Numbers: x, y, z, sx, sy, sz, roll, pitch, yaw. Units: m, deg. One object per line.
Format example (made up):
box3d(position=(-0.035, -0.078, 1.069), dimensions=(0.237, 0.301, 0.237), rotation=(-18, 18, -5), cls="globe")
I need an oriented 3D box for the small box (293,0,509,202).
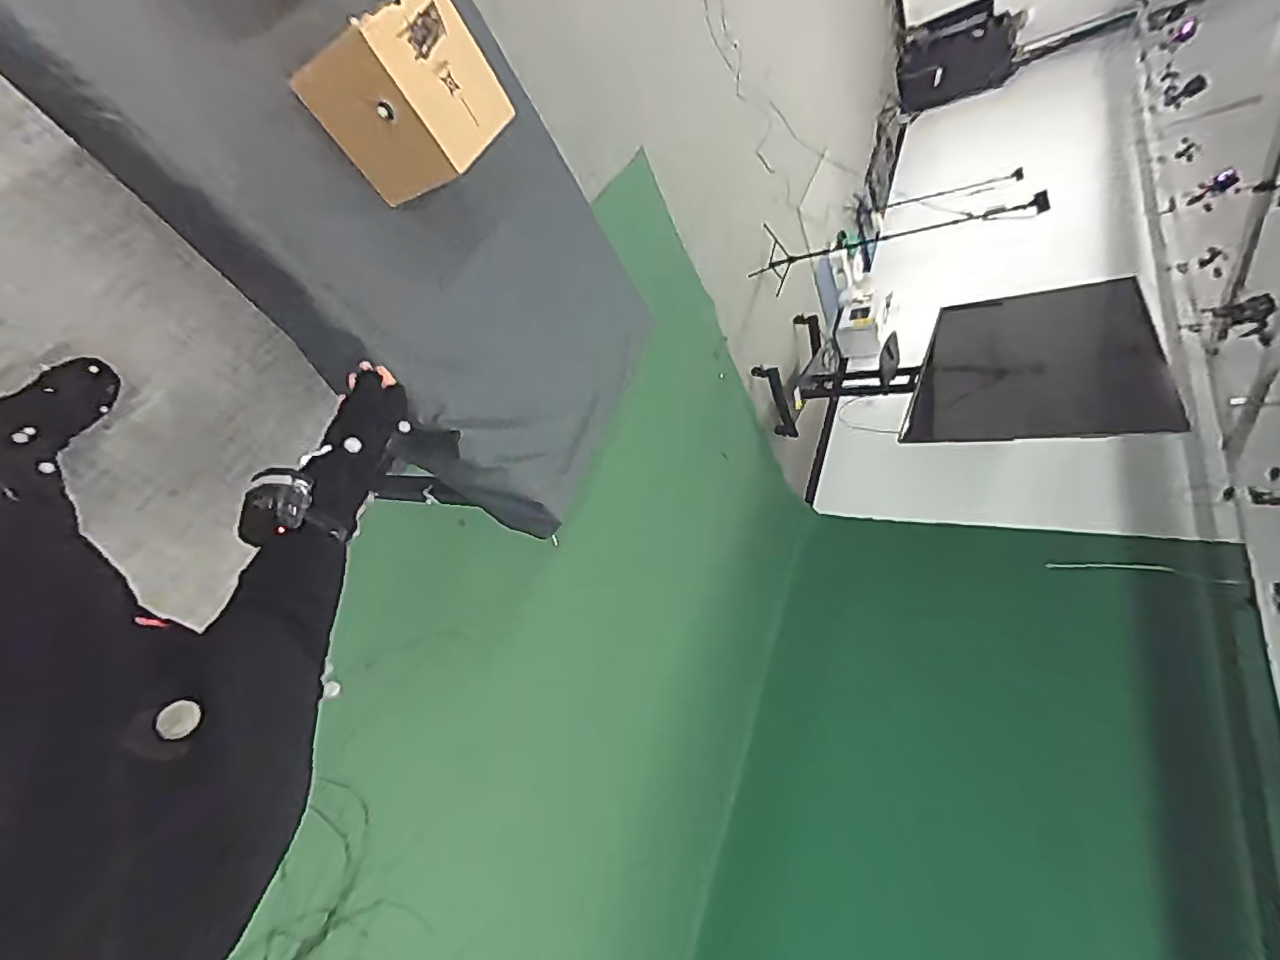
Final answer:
box3d(position=(-0.323, -0.520, 0.742), dimensions=(0.179, 0.176, 0.168), rotation=(52, 50, -44), cls="small box")
